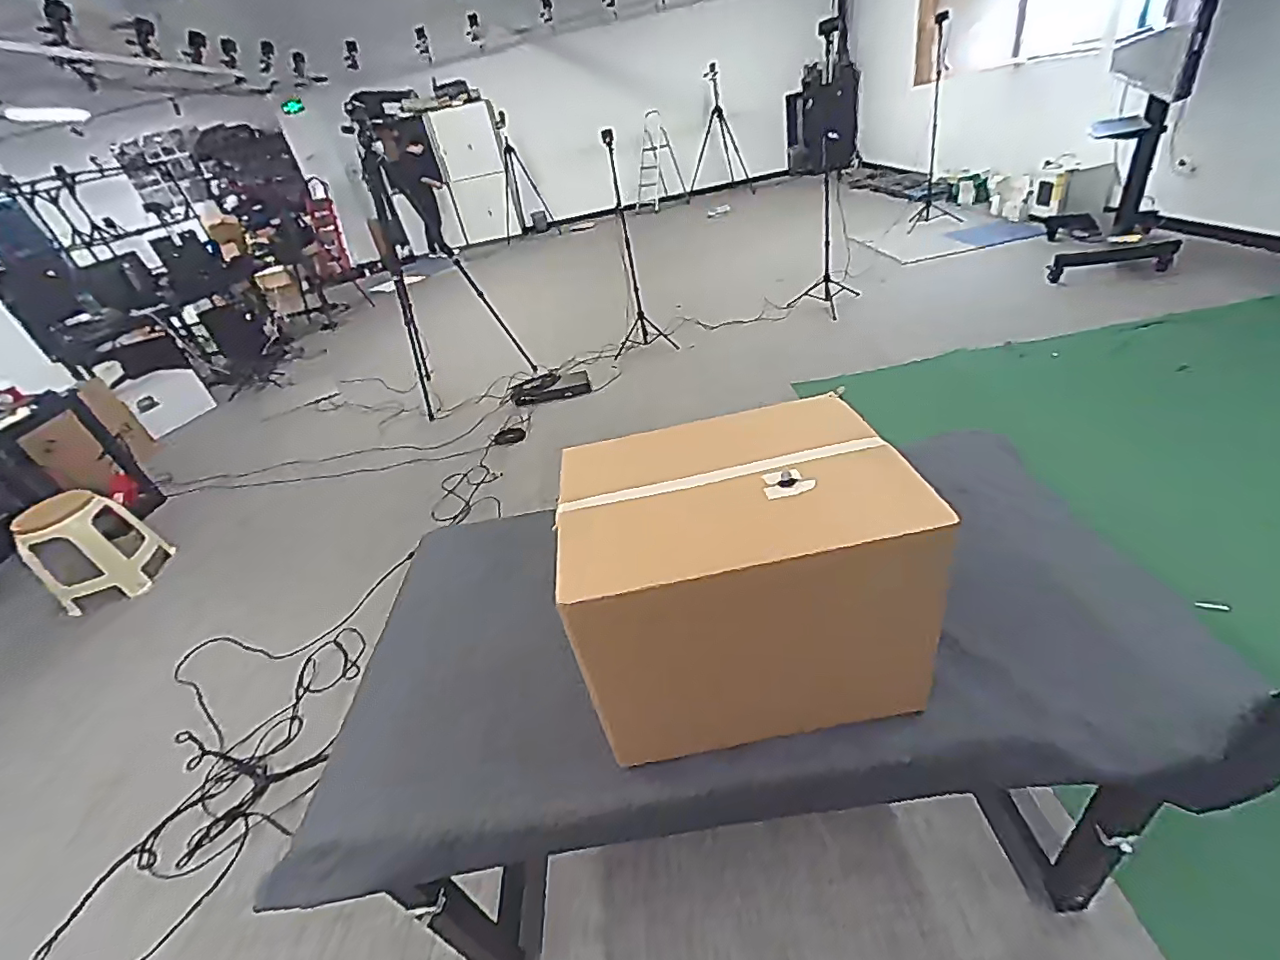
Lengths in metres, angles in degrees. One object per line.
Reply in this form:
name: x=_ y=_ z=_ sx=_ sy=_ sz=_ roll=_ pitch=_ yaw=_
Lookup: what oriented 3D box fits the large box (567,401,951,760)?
large box: x=0.128 y=0.126 z=0.744 sx=0.408 sy=0.320 sz=0.320 roll=-11 pitch=34 yaw=0
